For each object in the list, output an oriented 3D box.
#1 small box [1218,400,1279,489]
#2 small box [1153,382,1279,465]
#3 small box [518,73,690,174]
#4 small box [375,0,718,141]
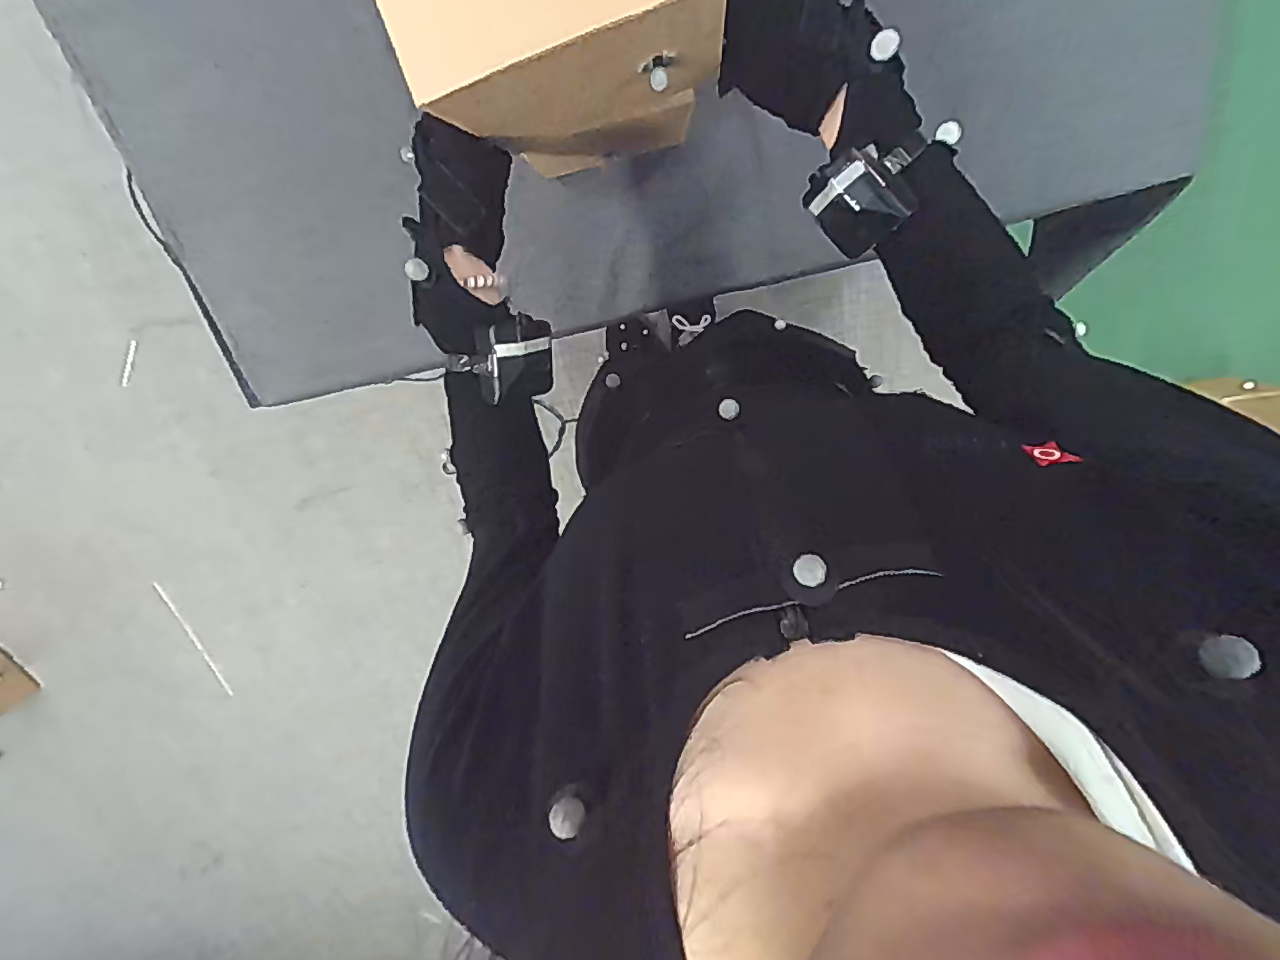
[{"bbox_3d":[1.487,-0.085,1.227,0.168,0.176,0.179,-8,110,4],"label":"small box"},{"bbox_3d":[1.477,-0.149,1.379,0.179,0.176,0.168,-8,110,3],"label":"small box"},{"bbox_3d":[-0.052,-0.420,0.519,0.168,0.176,0.179,-11,110,5],"label":"small box"},{"bbox_3d":[-0.056,-0.329,0.318,0.179,0.176,0.168,-13,110,12],"label":"small box"}]
